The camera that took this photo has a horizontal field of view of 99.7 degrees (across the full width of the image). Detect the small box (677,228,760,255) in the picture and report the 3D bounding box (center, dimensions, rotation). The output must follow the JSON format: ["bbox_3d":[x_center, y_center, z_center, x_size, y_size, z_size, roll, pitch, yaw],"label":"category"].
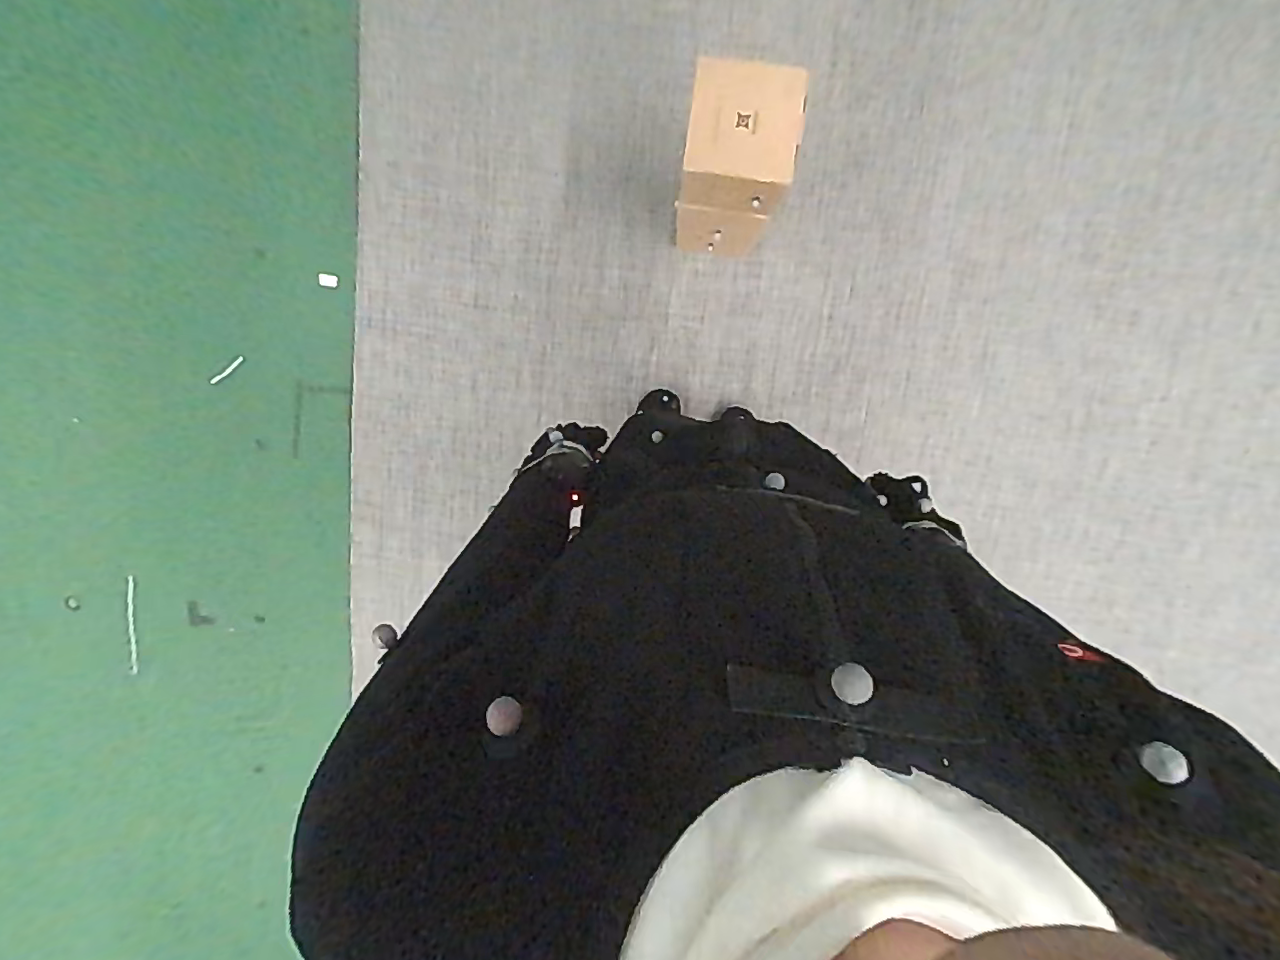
[{"bbox_3d":[0.182,-0.624,1.239,0.179,0.176,0.168,5,101,1],"label":"small box"}]

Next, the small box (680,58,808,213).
[{"bbox_3d":[0.166,-0.570,0.919,0.179,0.176,0.168,8,100,3],"label":"small box"}]

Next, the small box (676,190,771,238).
[{"bbox_3d":[0.171,-0.596,1.079,0.179,0.176,0.168,9,101,1],"label":"small box"}]
